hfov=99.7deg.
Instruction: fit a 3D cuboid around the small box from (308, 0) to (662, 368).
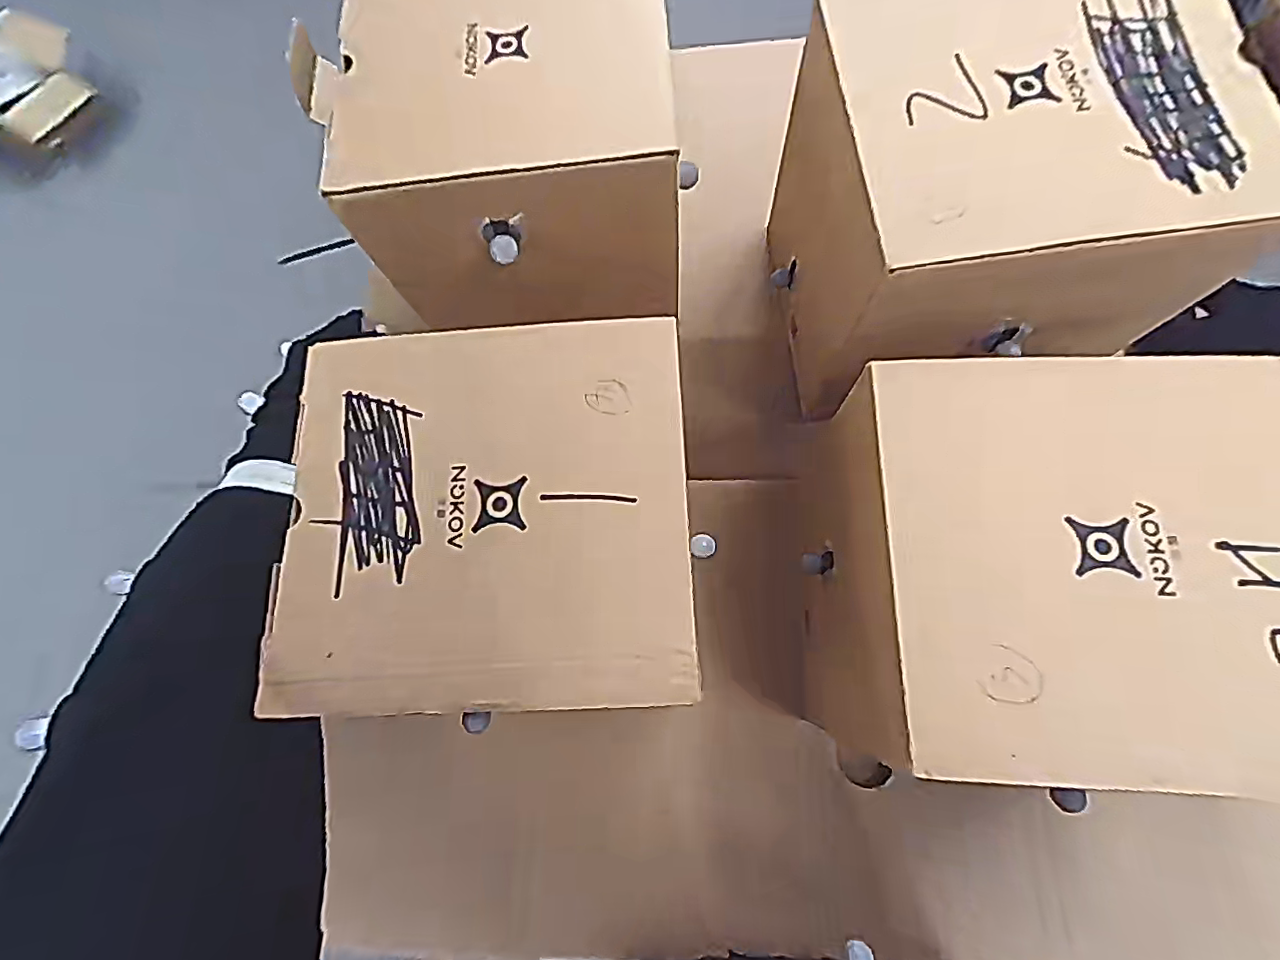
[{"bbox_3d":[-0.079,-0.192,0.361,0.179,0.176,0.168,-7,73,4],"label":"small box"}]
